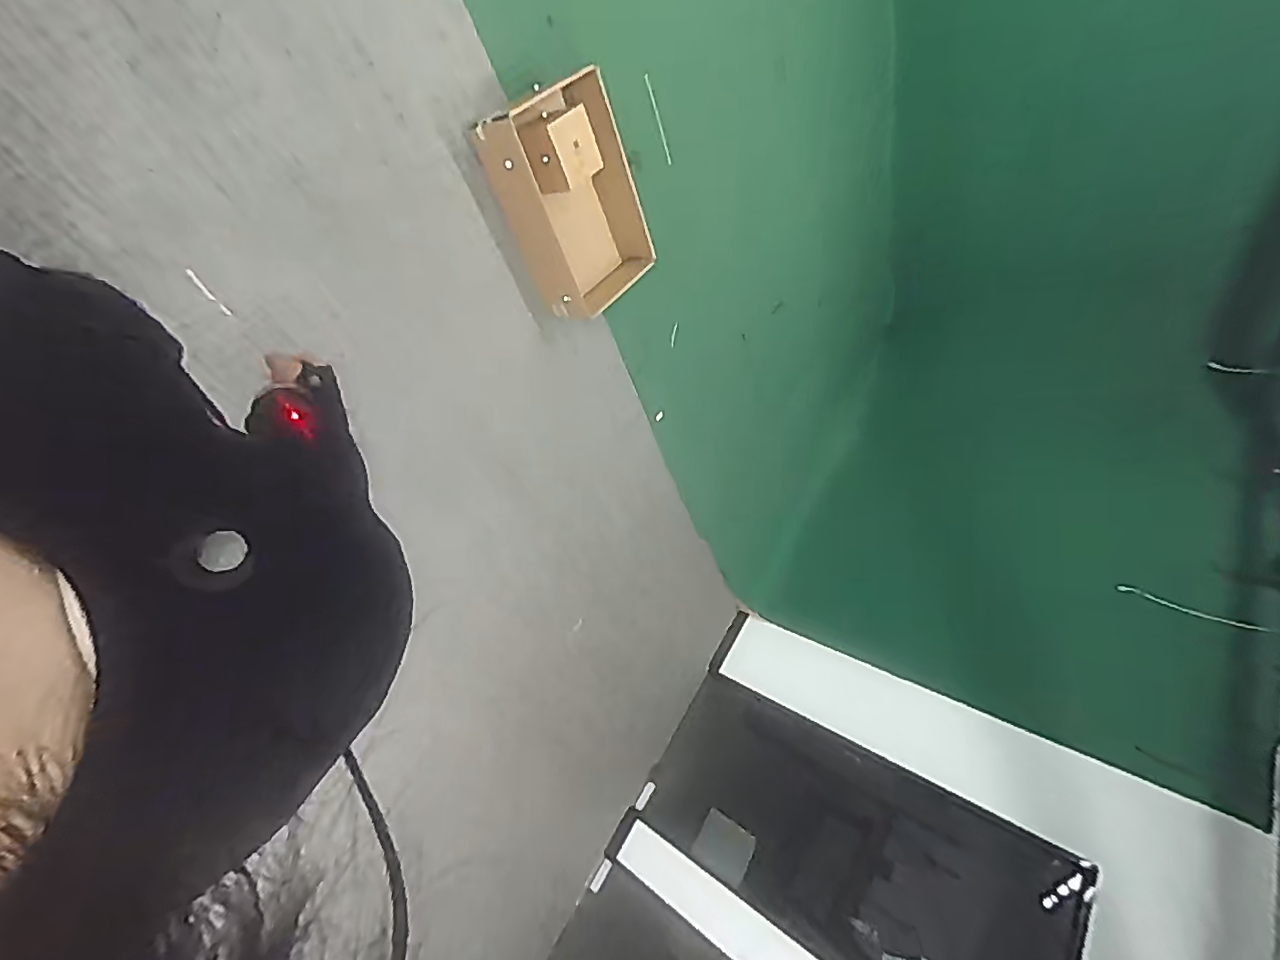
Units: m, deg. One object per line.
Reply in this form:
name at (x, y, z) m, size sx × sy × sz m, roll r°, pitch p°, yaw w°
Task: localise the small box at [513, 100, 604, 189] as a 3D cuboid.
small box at (-0.243, -0.987, 1.602) m, size 0.168 × 0.176 × 0.179 m, roll -50°, pitch 139°, yaw -26°
